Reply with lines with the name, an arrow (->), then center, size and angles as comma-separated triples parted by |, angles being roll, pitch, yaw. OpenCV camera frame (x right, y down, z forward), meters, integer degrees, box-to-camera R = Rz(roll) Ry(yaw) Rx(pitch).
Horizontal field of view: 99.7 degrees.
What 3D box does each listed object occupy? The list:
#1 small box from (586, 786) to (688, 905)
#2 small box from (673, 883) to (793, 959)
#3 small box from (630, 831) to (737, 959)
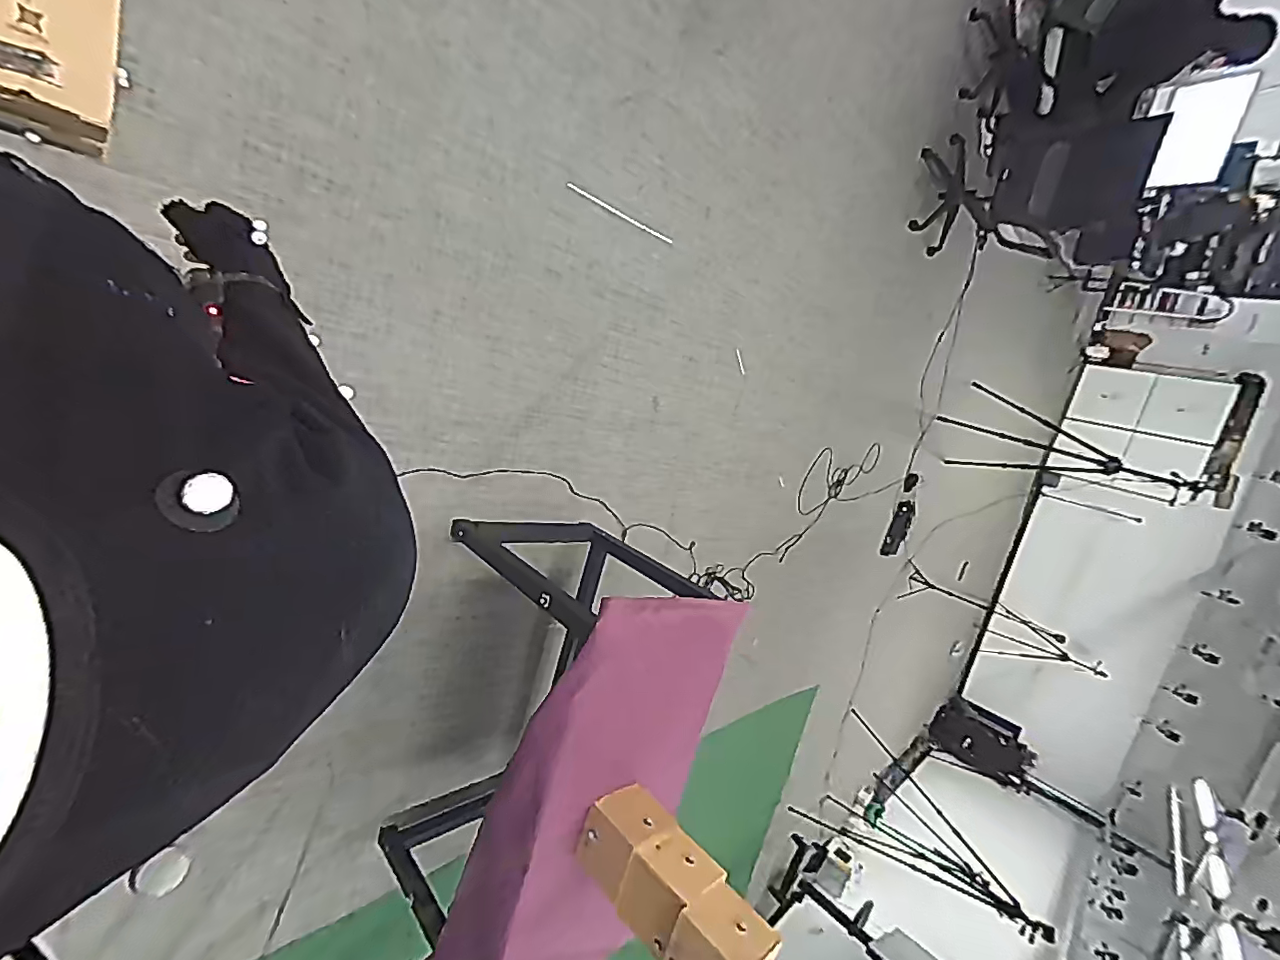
small box -> -0.009, 0.937, 1.410 | 0.179, 0.176, 0.168 | 12, 97, -47
small box -> 0.198, 1.035, 1.178 | 0.179, 0.176, 0.168 | 14, 96, -49
small box -> 0.101, 0.990, 1.304 | 0.168, 0.176, 0.179 | 10, 99, -47
